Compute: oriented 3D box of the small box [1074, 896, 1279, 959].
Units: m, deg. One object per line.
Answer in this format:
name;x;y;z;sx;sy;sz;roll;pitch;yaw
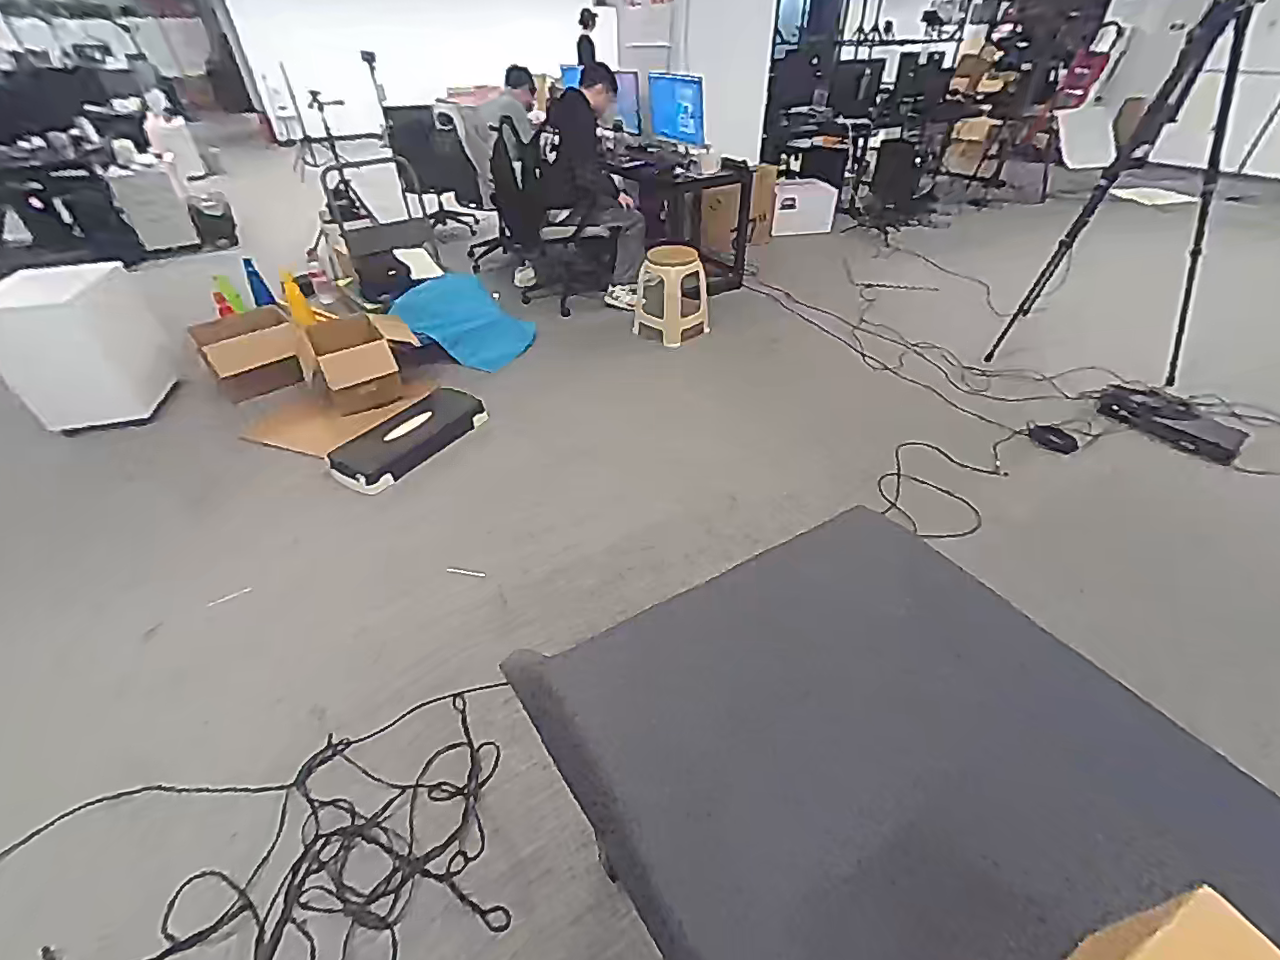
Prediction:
small box;0.385;0.437;0.369;0.179;0.176;0.168;-18;42;-19
